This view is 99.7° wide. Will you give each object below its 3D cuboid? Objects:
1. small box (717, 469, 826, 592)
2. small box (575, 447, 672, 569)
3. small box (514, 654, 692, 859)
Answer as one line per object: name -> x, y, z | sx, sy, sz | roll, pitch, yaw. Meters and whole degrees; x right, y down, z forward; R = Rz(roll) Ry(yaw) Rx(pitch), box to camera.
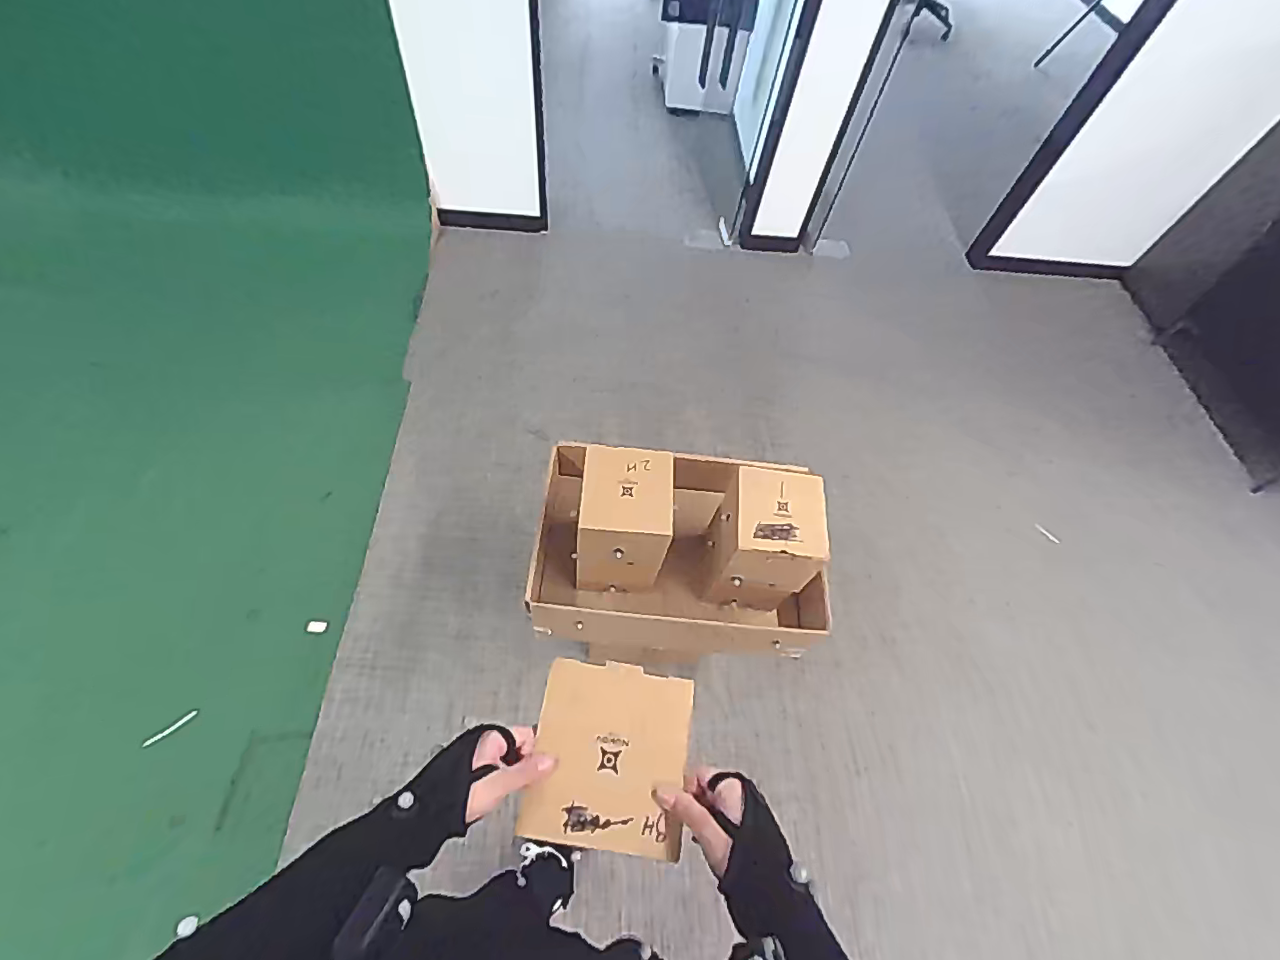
small box -> 0.248, 0.104, 1.050 | 0.168, 0.176, 0.179 | 8, 57, -1
small box -> -0.033, 0.061, 1.039 | 0.168, 0.176, 0.179 | 6, 59, -4
small box -> -0.041, 0.327, 0.640 | 0.168, 0.176, 0.179 | 10, 57, 0
